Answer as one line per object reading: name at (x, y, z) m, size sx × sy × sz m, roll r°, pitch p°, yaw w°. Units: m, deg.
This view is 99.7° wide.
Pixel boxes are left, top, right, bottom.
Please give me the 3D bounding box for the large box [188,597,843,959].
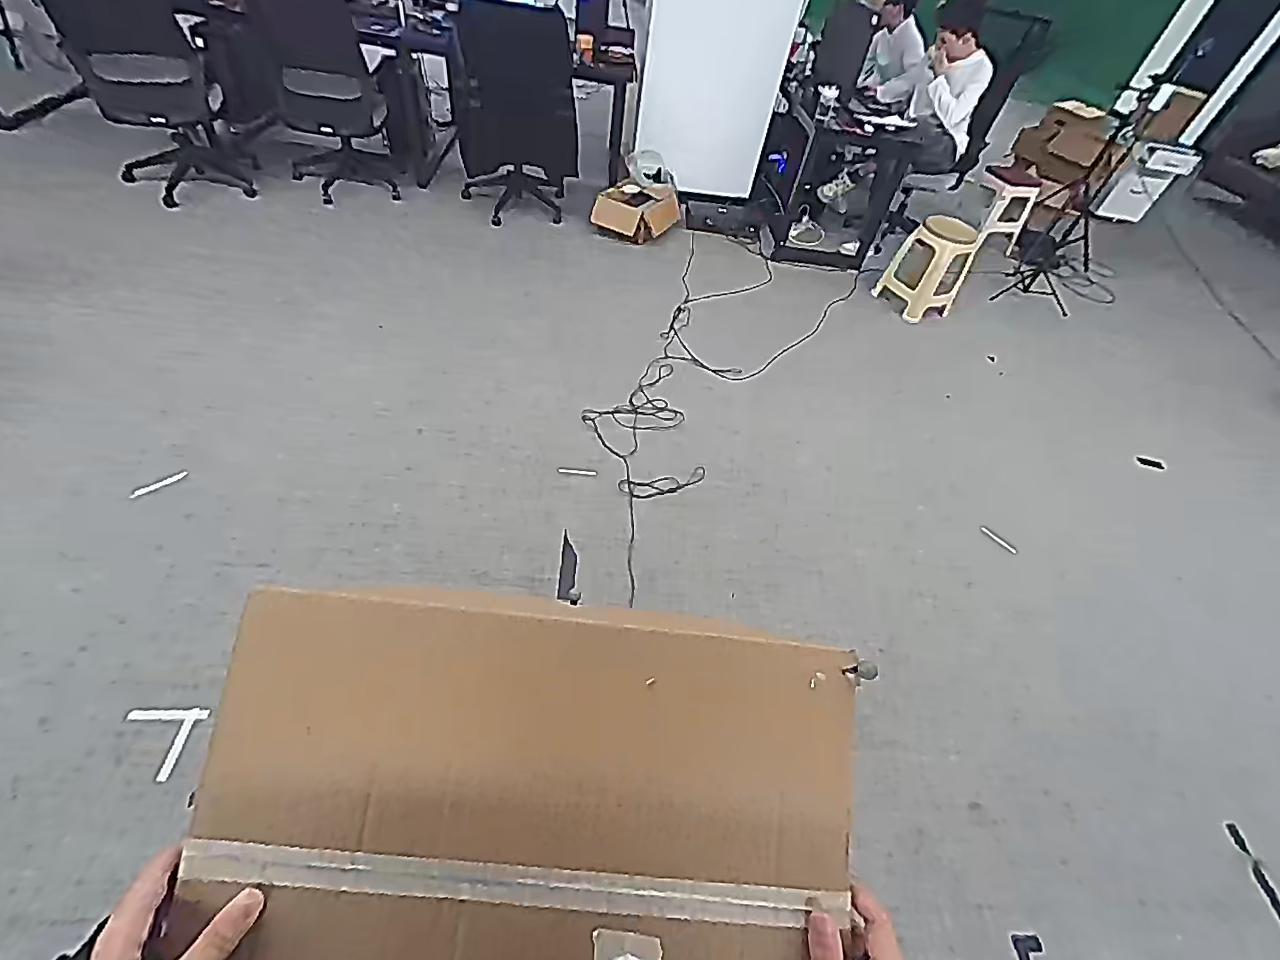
large box at (-0.079, 0.278, 0.489) m, size 0.408 × 0.320 × 0.320 m, roll 7°, pitch 80°, yaw -4°
